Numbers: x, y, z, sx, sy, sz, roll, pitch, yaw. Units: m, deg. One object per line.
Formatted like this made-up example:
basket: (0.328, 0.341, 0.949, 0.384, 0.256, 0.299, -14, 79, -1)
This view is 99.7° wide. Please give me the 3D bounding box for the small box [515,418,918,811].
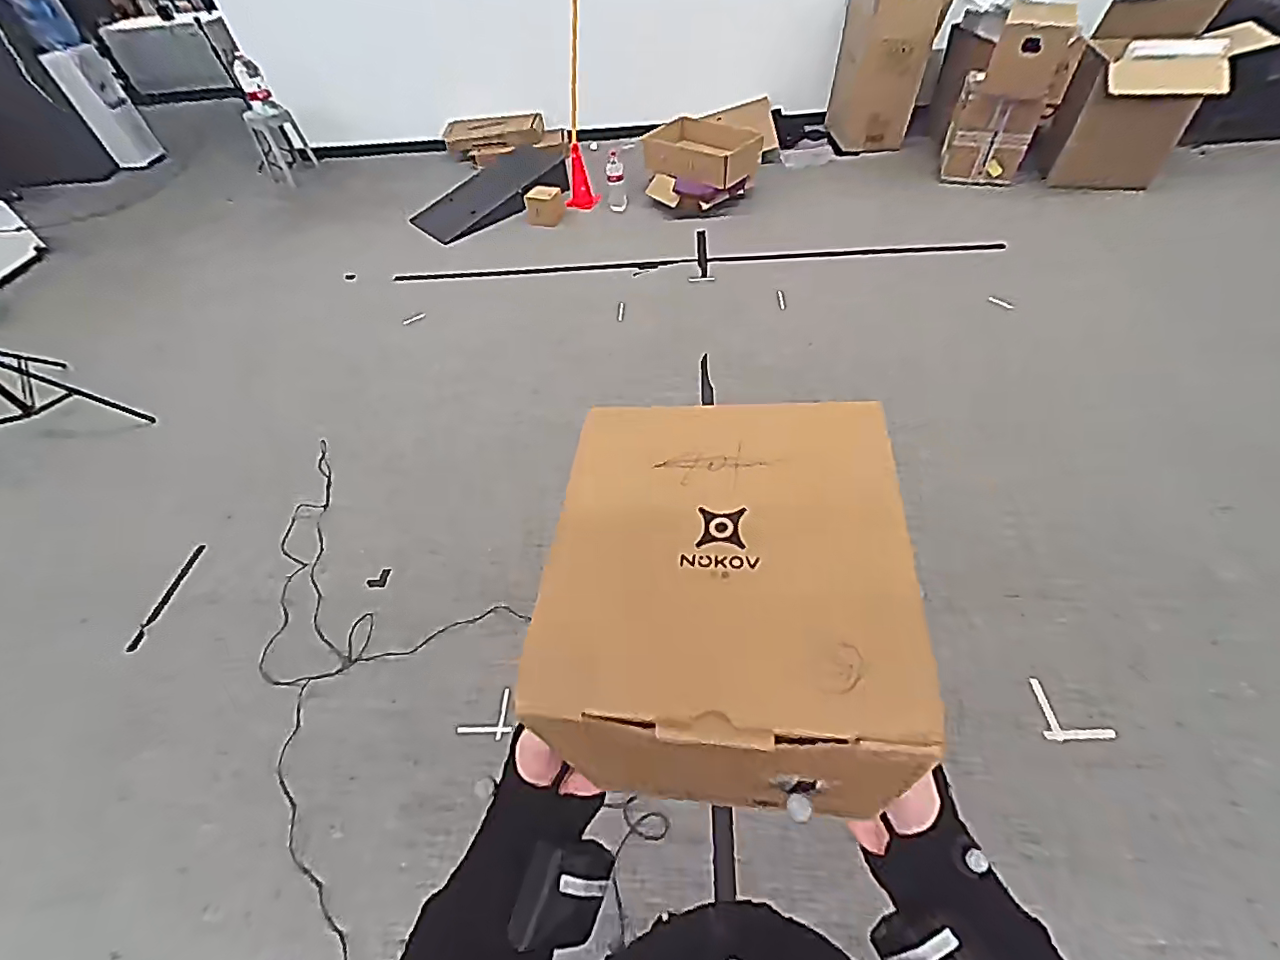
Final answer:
small box: (0.047, 0.084, 0.326, 0.168, 0.176, 0.179, 0, 51, 11)
